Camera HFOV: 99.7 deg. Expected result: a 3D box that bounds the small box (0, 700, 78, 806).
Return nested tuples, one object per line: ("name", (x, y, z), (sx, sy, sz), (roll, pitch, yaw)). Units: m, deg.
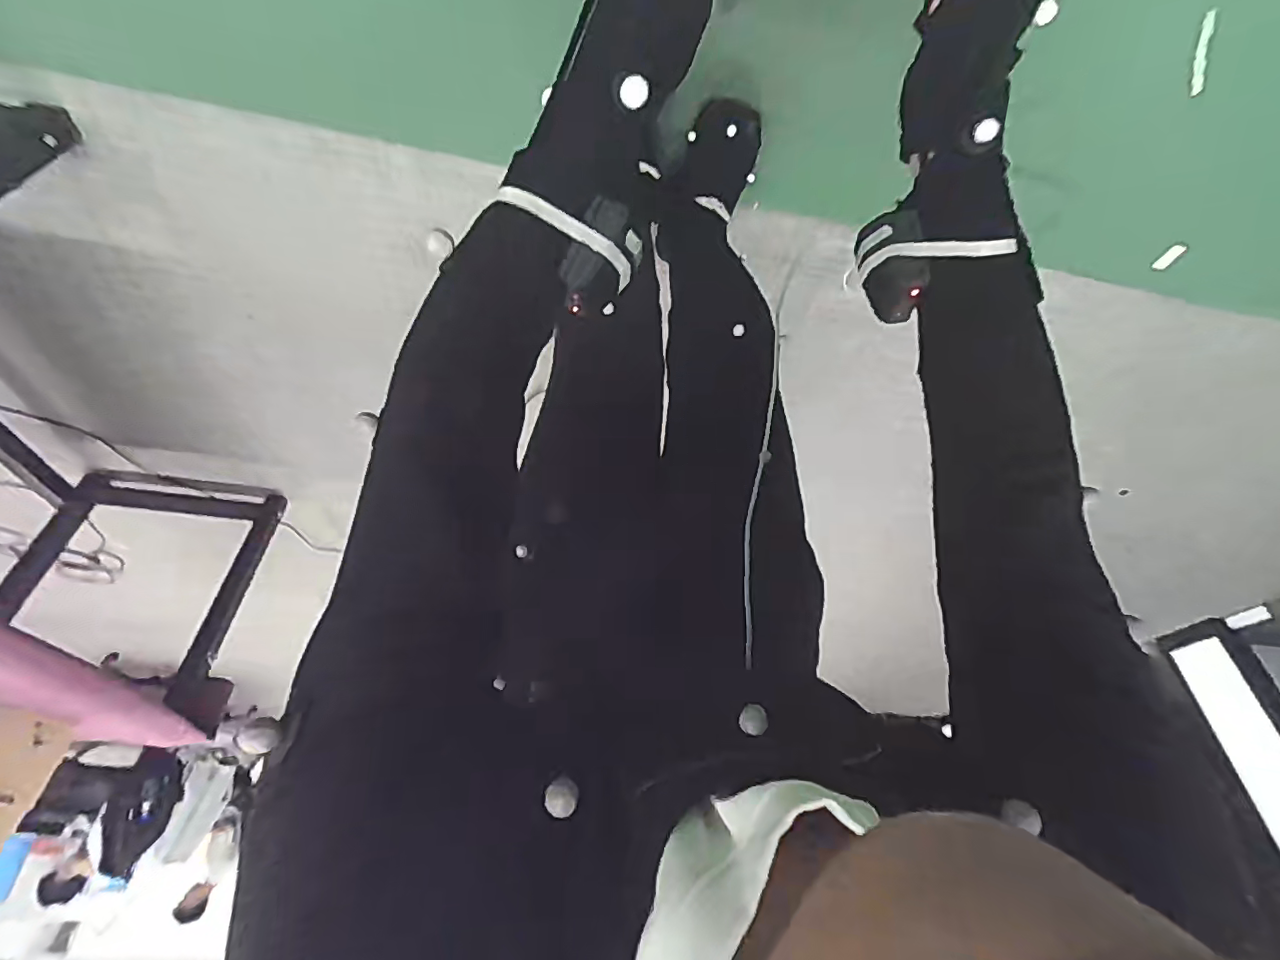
("small box", (-1.335, 0.552, 1.099), (0.179, 0.176, 0.168), (4, 144, -3))
